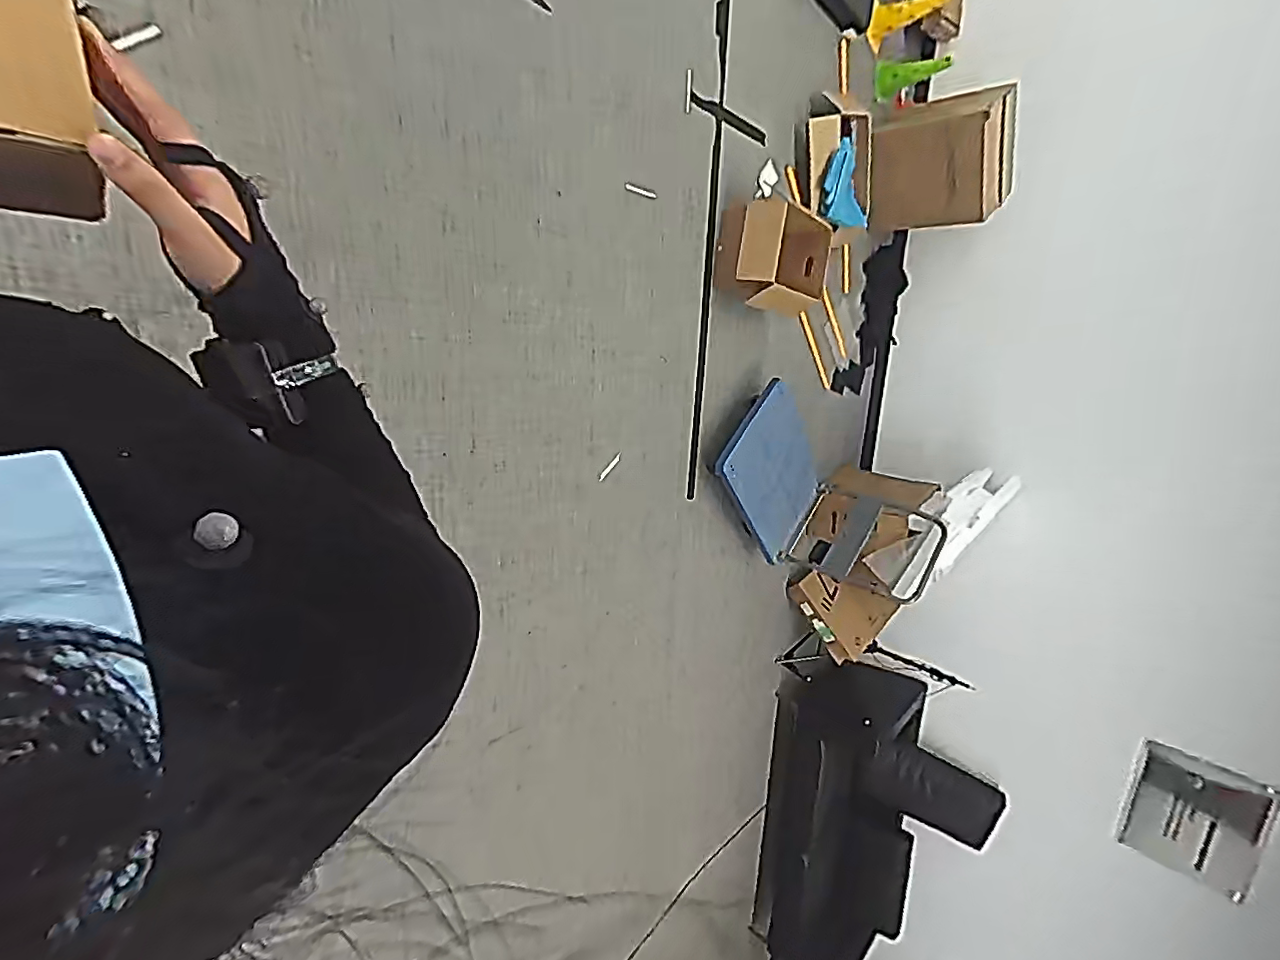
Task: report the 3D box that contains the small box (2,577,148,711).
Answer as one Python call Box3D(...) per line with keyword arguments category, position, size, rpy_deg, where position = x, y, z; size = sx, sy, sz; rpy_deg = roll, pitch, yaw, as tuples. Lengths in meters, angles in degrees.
Box3D(category="small box", position=(-1.102, 0.305, 1.060), size=(0.168, 0.176, 0.179), rpy_deg=(-15, 113, -43))
